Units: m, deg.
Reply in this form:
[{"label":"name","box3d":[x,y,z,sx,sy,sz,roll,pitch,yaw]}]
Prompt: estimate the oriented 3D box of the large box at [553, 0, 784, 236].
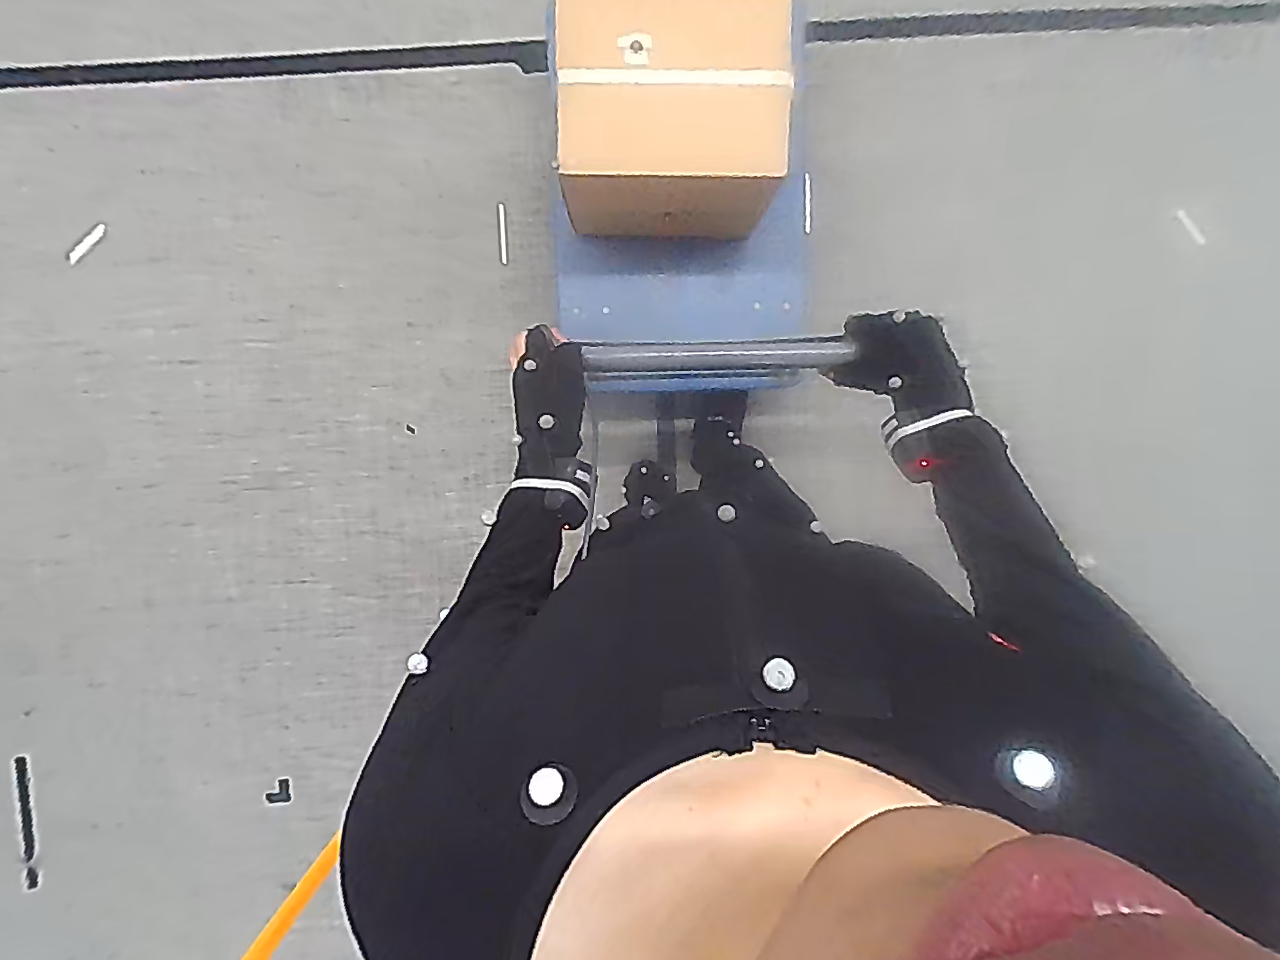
[{"label":"large box","box3d":[0.052,-0.698,1.087,0.408,0.320,0.320,0,96,0]}]
